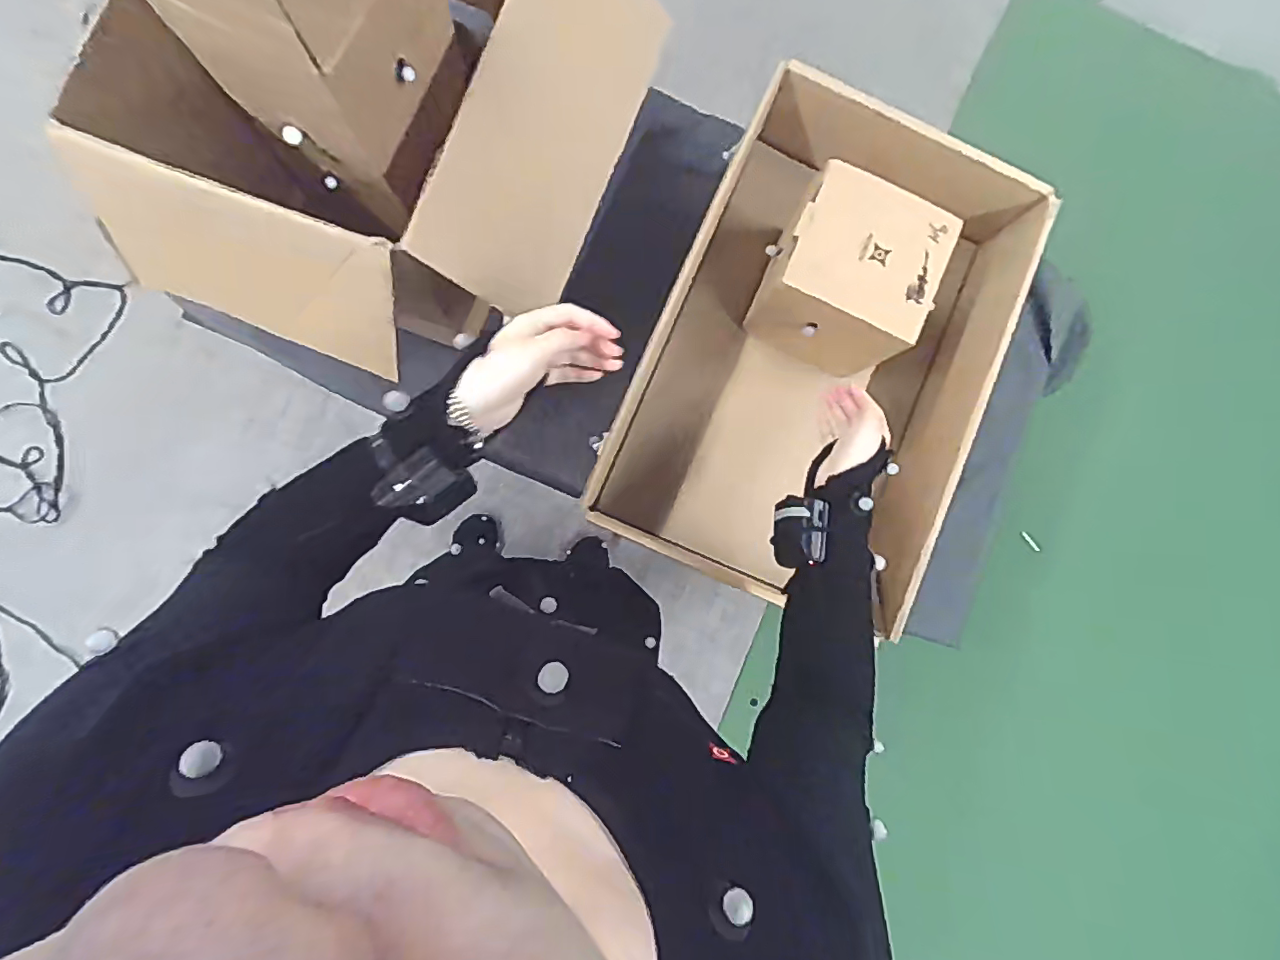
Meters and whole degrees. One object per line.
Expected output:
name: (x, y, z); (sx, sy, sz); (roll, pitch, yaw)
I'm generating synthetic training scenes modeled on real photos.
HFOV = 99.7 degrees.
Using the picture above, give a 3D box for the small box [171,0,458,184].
small box: (-0.296, -0.439, 0.523); (0.168, 0.176, 0.179); (26, 86, -4)

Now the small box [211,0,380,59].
small box: (-0.281, -0.445, 0.362); (0.179, 0.176, 0.168); (27, 85, -5)
